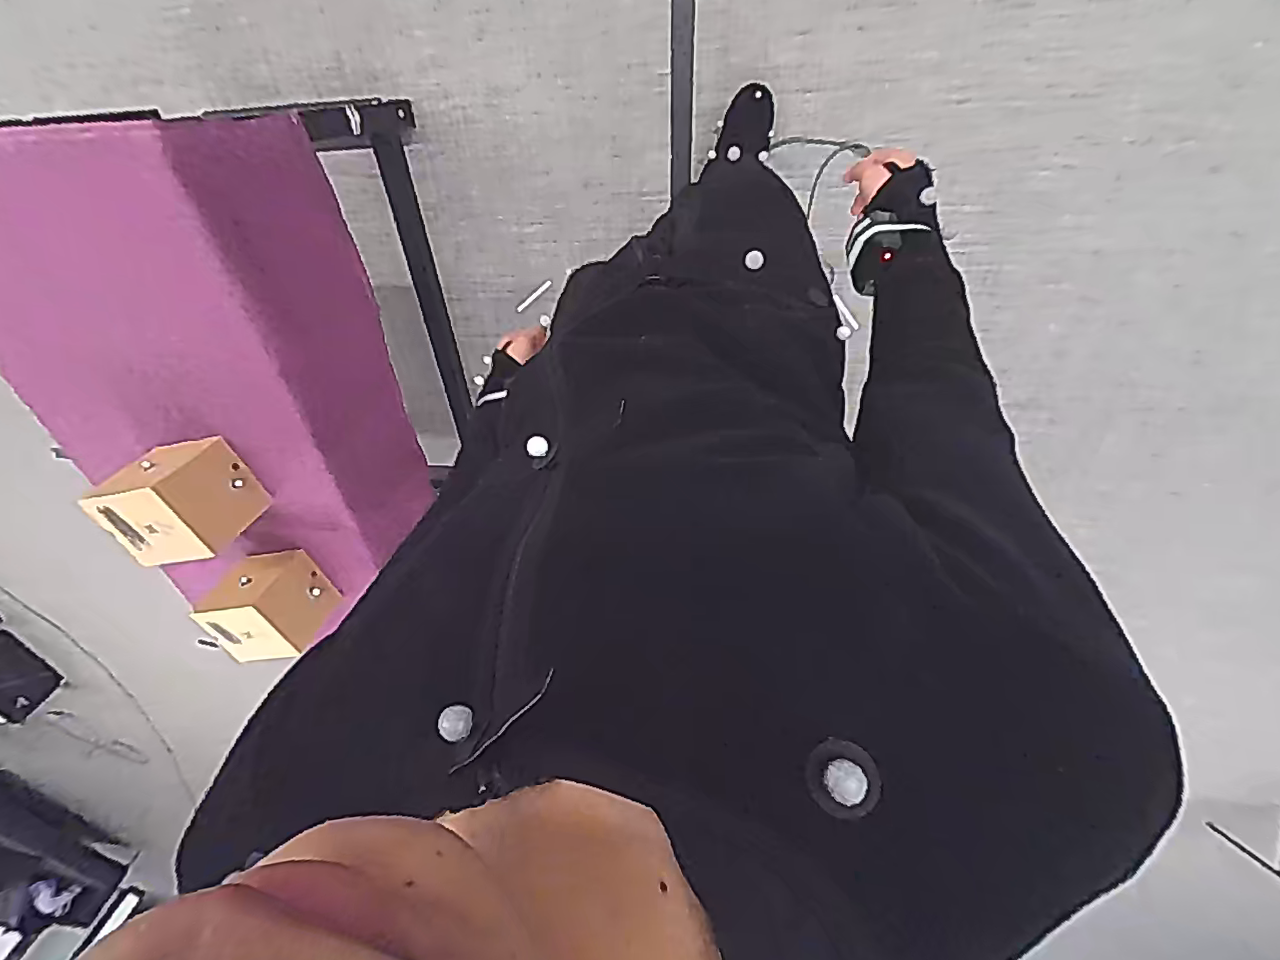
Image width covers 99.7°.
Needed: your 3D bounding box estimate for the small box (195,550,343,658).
[{"bbox_3d":[-0.817,0.277,1.212,0.179,0.176,0.168,-9,125,16],"label":"small box"}]
